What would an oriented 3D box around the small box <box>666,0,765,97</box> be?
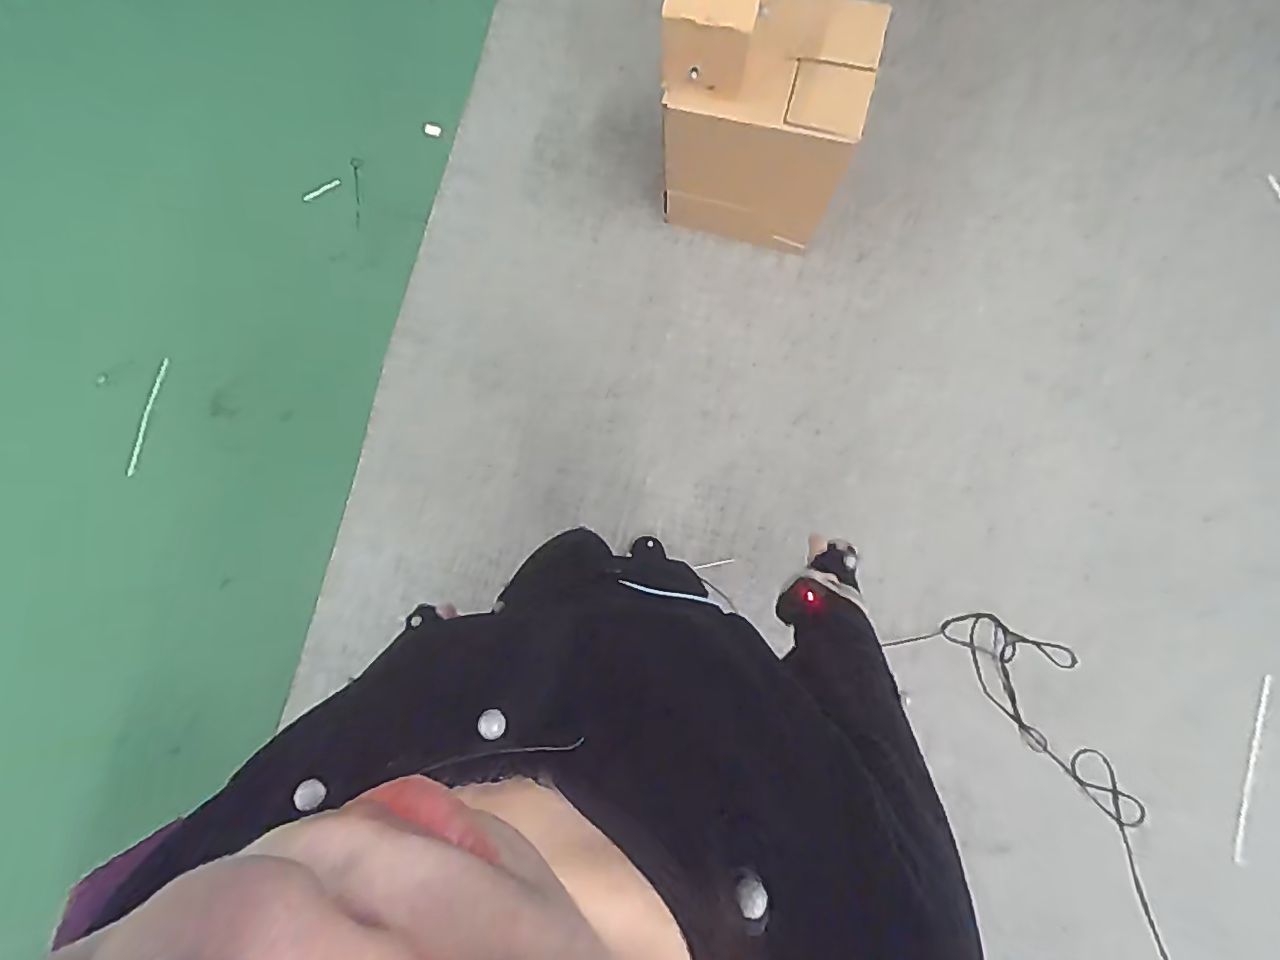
[{"bbox_3d":[0.144,-0.877,1.017,0.168,0.176,0.179,14,90,2],"label":"small box"}]
